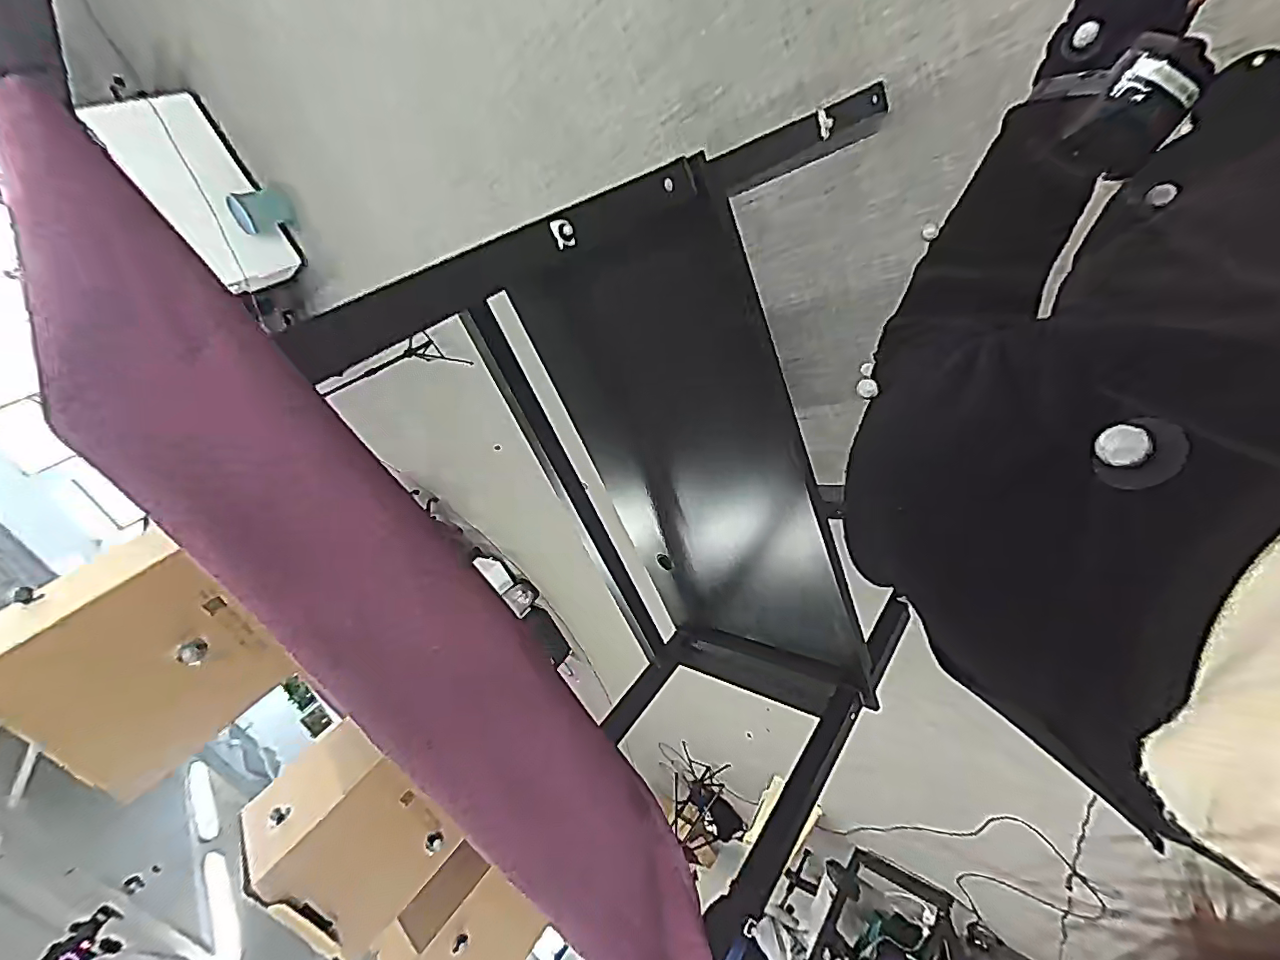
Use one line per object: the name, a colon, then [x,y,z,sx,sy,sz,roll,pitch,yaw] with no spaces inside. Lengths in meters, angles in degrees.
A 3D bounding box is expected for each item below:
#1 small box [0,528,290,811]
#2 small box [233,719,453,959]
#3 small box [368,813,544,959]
small box: [-0.487,0.167,0.533,0.179,0.176,0.168,8,131,45]
small box: [-0.367,0.437,0.683,0.179,0.176,0.168,-2,123,51]
small box: [-0.277,0.637,0.791,0.168,0.176,0.179,4,128,48]
